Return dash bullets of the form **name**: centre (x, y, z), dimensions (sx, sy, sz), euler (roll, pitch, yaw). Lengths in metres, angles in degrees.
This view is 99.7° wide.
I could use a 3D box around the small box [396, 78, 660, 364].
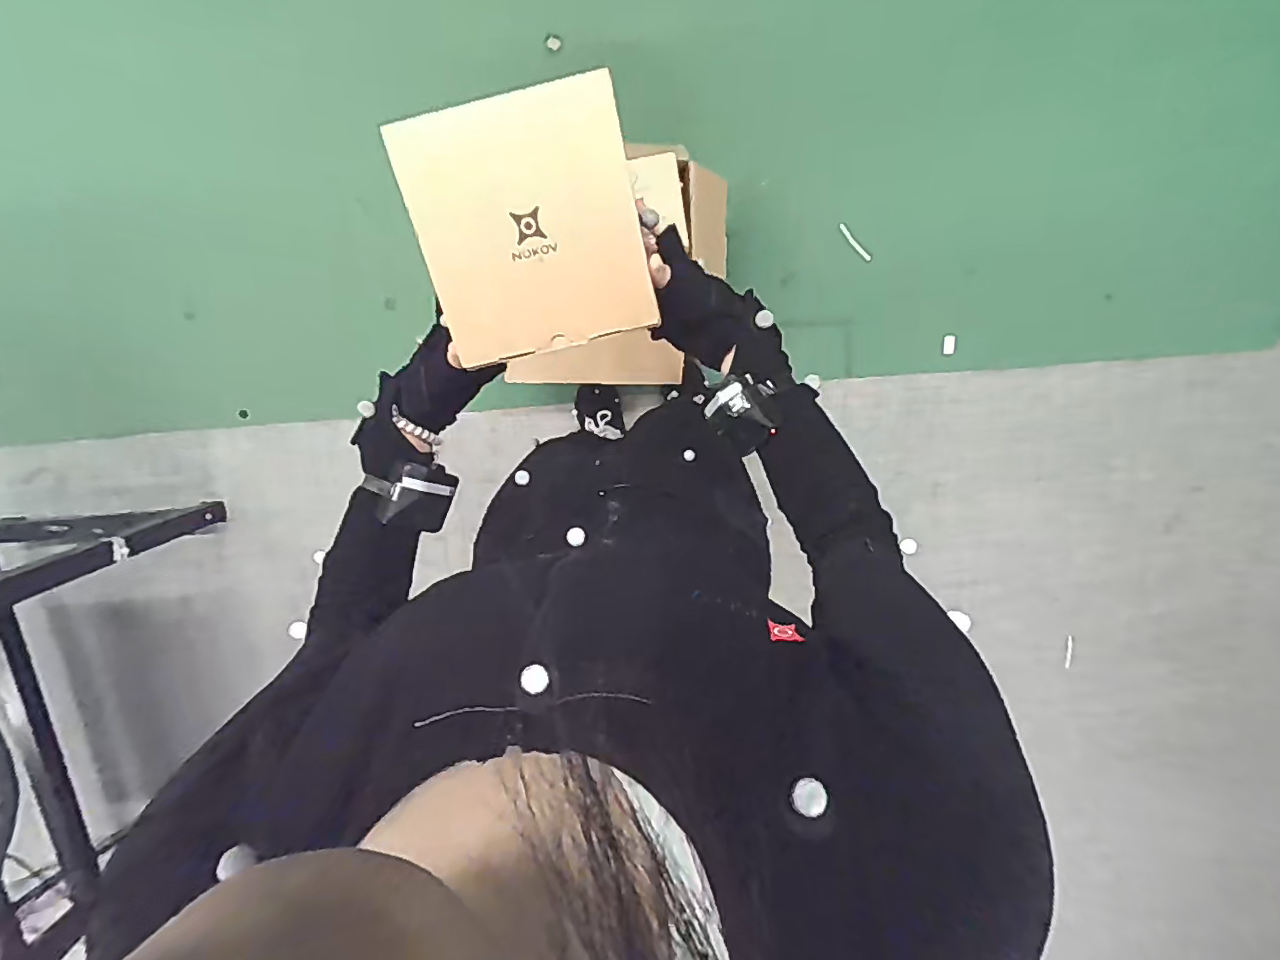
- **small box**: centre (-0.085, -0.219, 0.487), dimensions (0.168, 0.176, 0.179), euler (-13, 113, 2)
